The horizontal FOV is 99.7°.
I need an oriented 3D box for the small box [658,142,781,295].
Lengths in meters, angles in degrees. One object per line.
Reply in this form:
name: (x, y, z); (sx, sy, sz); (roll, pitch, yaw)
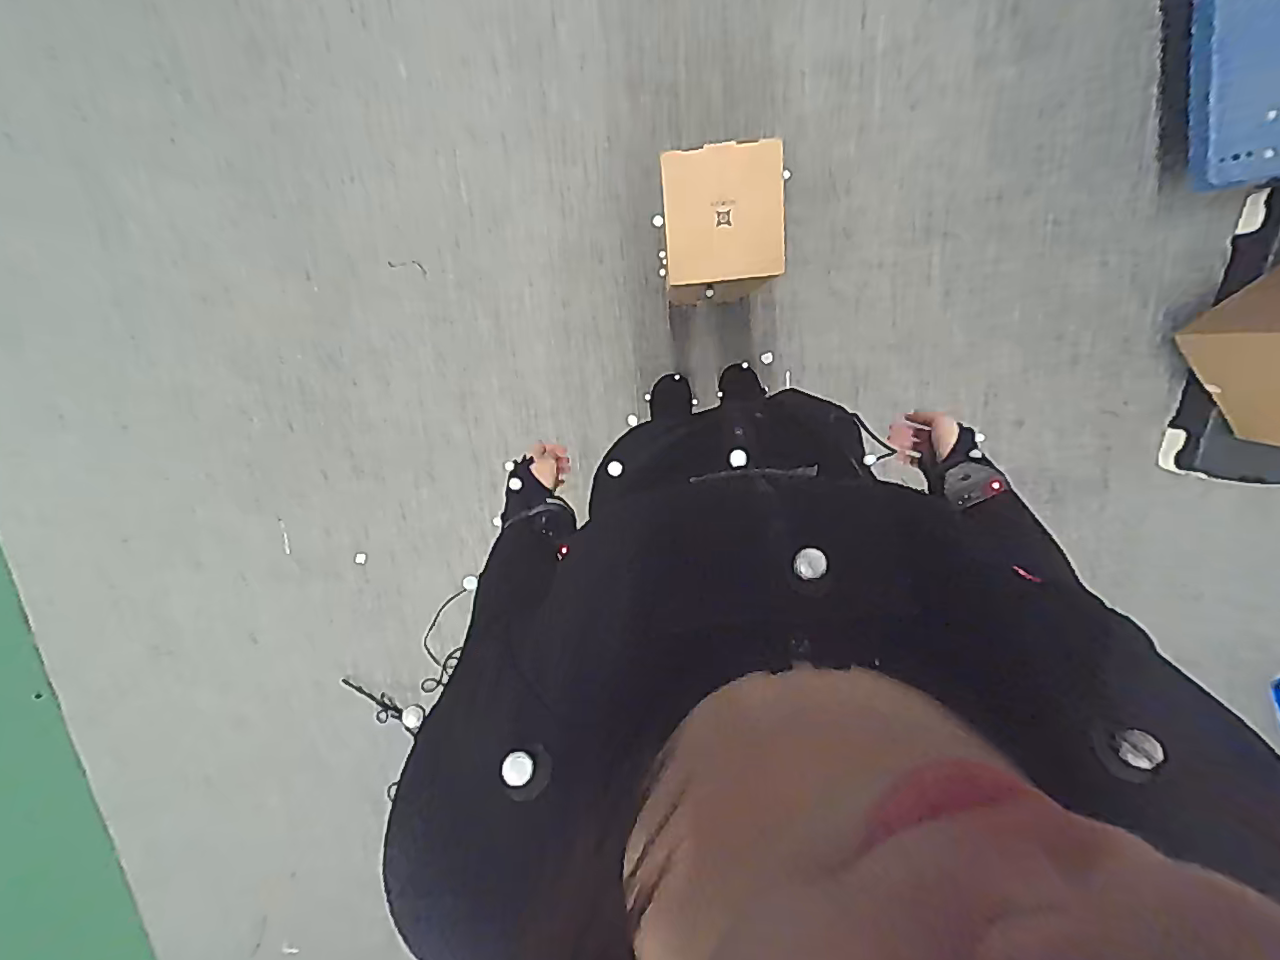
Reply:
small box: (0.119, -0.380, 0.821); (0.168, 0.176, 0.179); (-4, 104, 6)

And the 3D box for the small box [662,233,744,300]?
small box: (0.139, -0.472, 1.134); (0.179, 0.176, 0.168); (-1, 104, 5)
